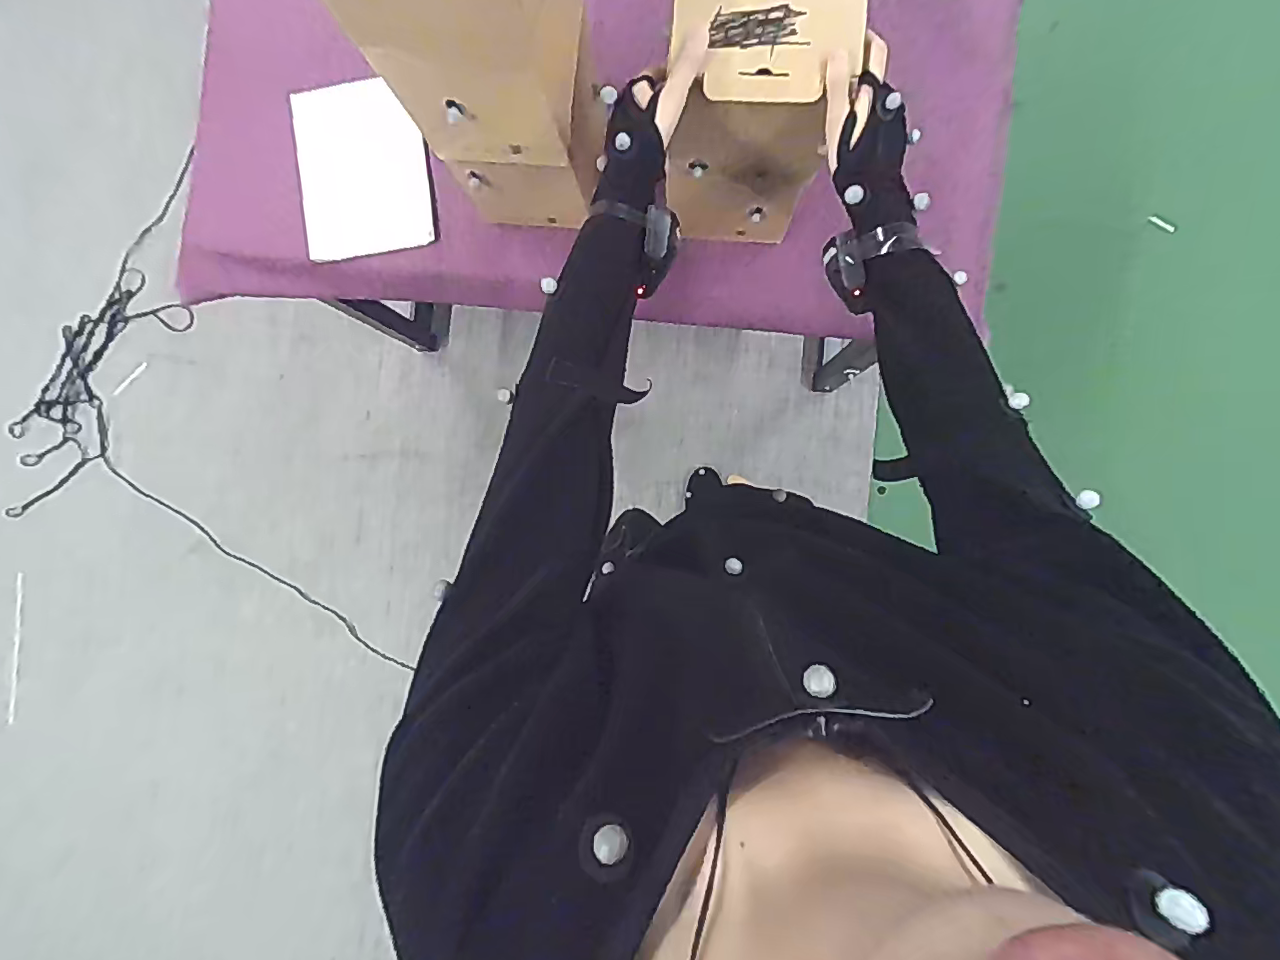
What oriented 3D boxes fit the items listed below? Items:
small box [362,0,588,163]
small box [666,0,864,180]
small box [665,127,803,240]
[{"bbox_3d":[-0.155,-0.465,0.564,0.168,0.176,0.179,7,88,5],"label":"small box"},{"bbox_3d":[0.118,-0.431,0.544,0.168,0.176,0.179,5,90,4],"label":"small box"},{"bbox_3d":[0.126,-0.436,0.706,0.168,0.176,0.179,7,89,4],"label":"small box"}]
